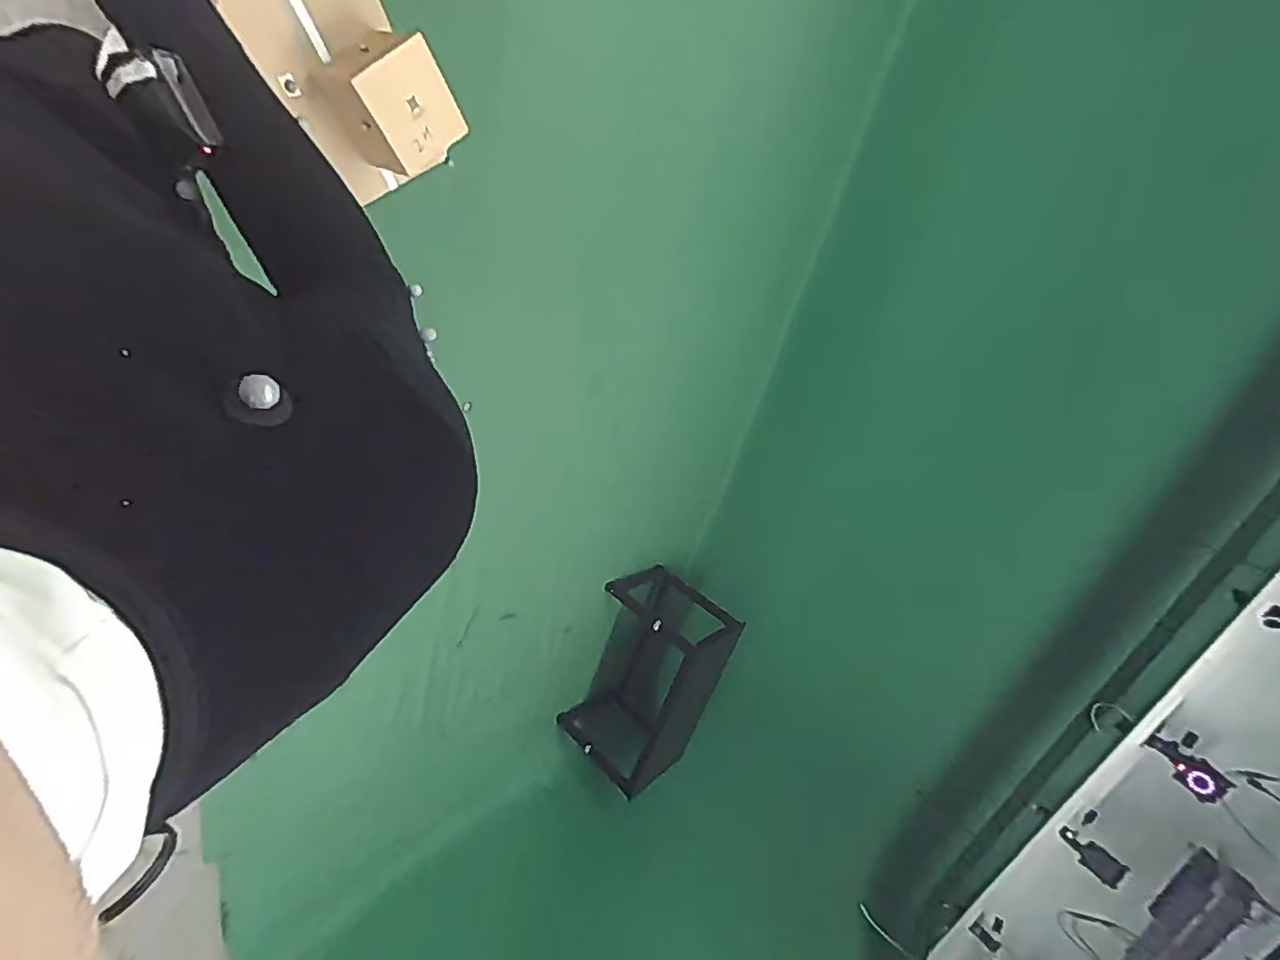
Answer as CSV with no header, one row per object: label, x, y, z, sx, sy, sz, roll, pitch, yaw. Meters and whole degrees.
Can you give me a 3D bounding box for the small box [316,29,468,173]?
small box,-0.482,-0.736,1.052,0.168,0.176,0.179,-49,148,-15
